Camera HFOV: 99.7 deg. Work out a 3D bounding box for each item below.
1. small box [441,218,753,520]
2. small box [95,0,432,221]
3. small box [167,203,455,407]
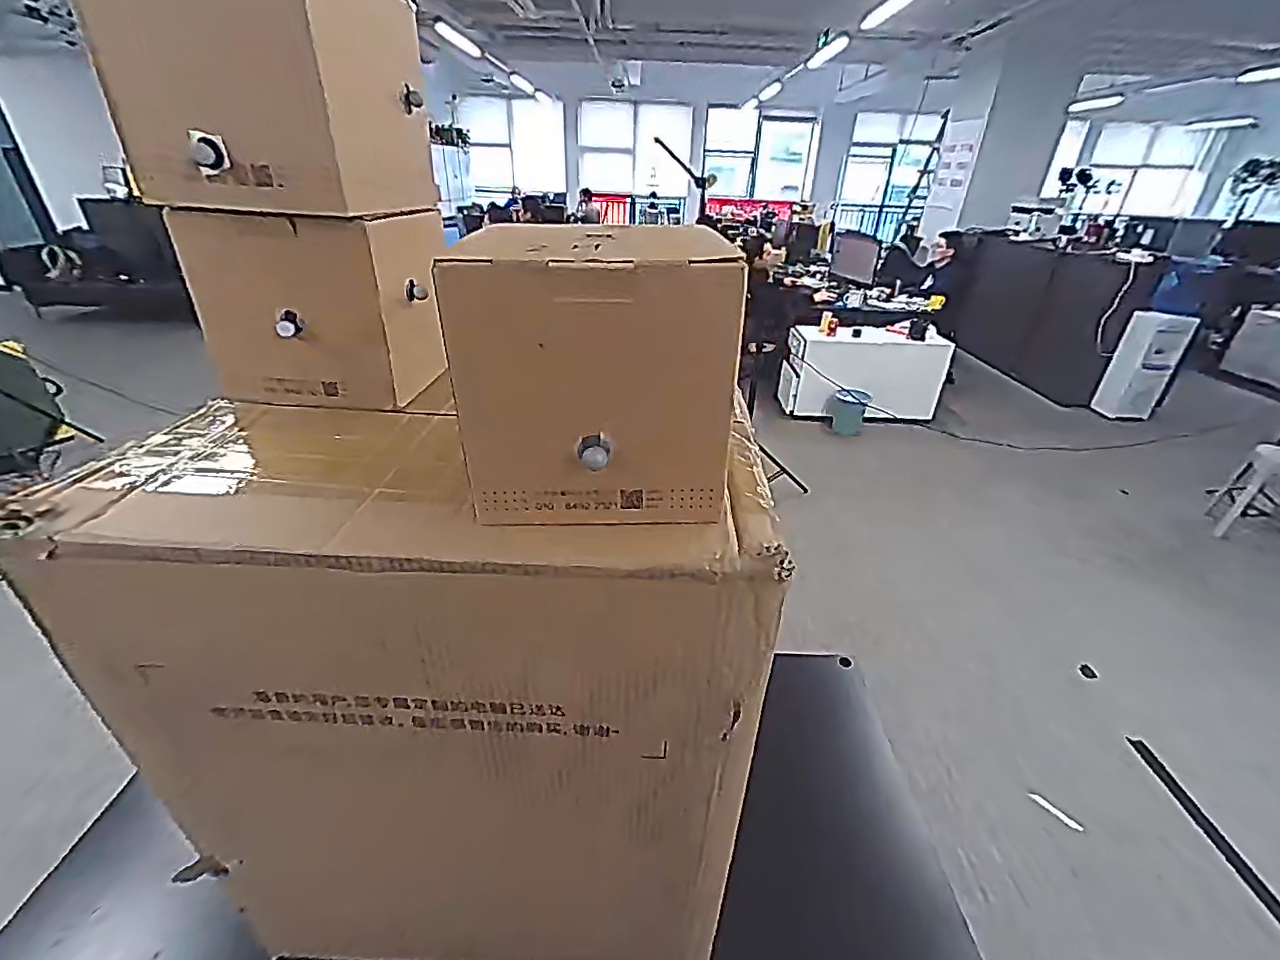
[{"bbox_3d":[-0.025,-0.088,0.389,0.168,0.176,0.179,-1,30,-1],"label":"small box"},{"bbox_3d":[-0.287,-0.316,0.447,0.168,0.176,0.179,3,29,2],"label":"small box"},{"bbox_3d":[-0.296,-0.180,0.539,0.168,0.176,0.179,3,29,0],"label":"small box"}]
